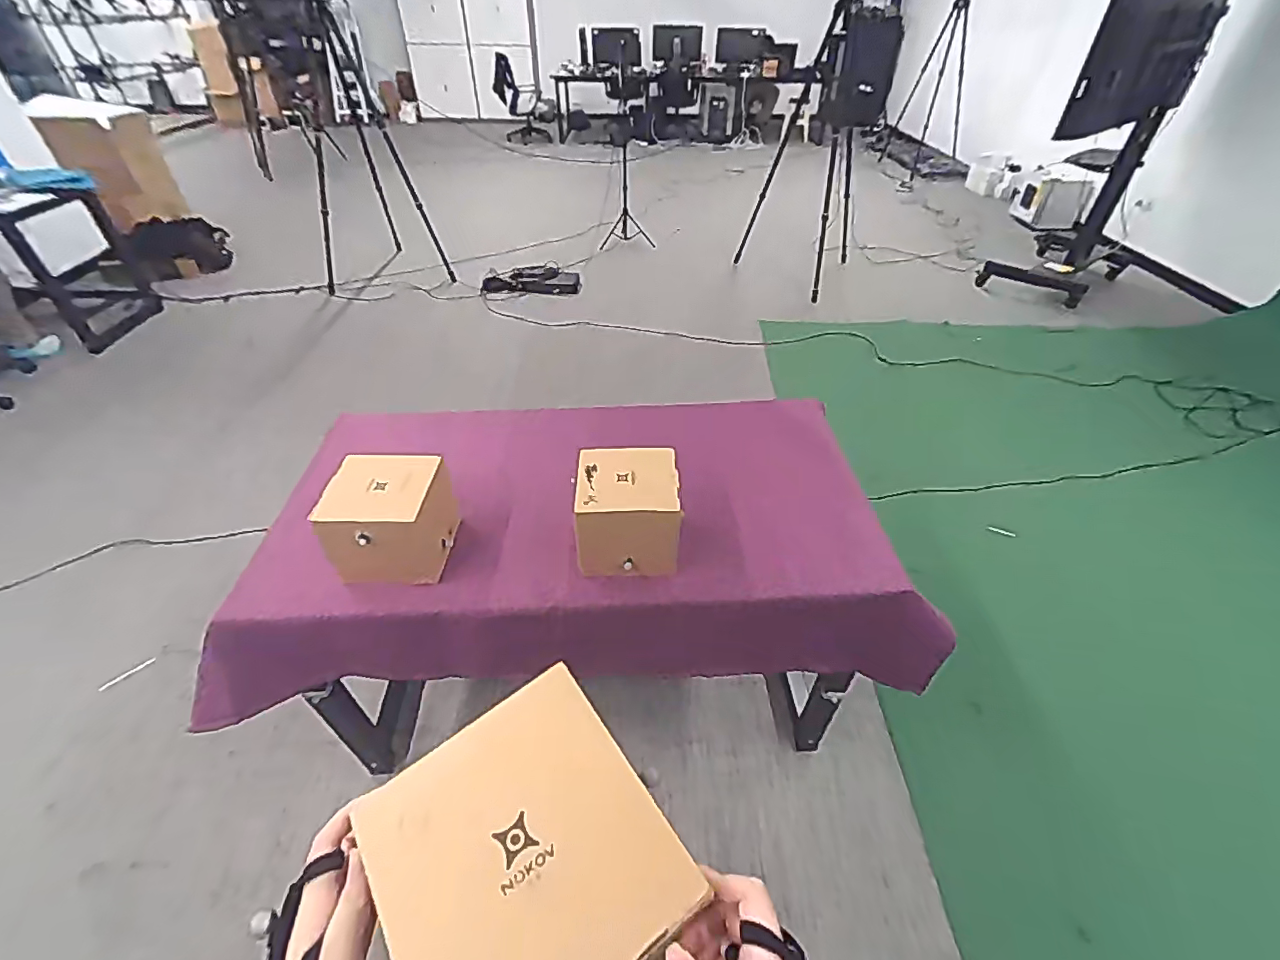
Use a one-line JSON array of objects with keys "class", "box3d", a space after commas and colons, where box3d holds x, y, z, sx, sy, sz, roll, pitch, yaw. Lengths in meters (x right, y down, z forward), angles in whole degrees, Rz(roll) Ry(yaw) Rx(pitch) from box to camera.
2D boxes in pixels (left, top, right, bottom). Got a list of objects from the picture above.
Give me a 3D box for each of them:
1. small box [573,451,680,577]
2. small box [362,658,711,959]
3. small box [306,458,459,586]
[{"class": "small box", "box3d": [-0.025, 0.064, 0.987, 0.179, 0.176, 0.168, 0, 41, -1]}, {"class": "small box", "box3d": [-0.067, 0.276, 0.398, 0.168, 0.176, 0.179, -31, 52, -20]}, {"class": "small box", "box3d": [-0.446, 0.076, 0.970, 0.179, 0.176, 0.168, 1, 42, 0]}]
